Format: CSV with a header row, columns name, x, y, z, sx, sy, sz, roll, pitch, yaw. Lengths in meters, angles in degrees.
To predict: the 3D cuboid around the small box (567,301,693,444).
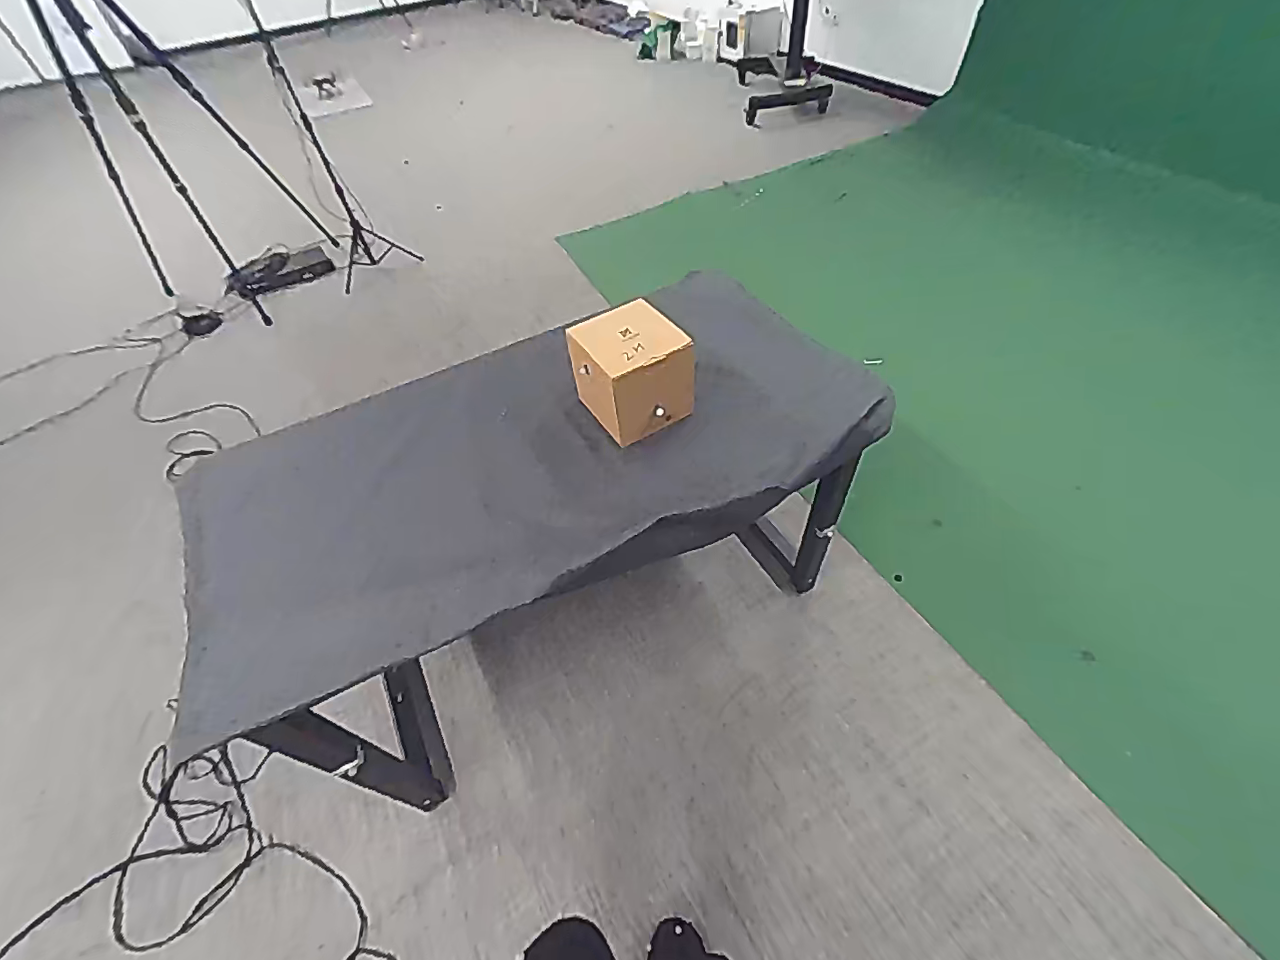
name,x,y,z,sx,sy,sz,roll,pitch,yaw
small box,-0.017,-0.200,1.014,0.168,0.176,0.179,-28,53,-17
